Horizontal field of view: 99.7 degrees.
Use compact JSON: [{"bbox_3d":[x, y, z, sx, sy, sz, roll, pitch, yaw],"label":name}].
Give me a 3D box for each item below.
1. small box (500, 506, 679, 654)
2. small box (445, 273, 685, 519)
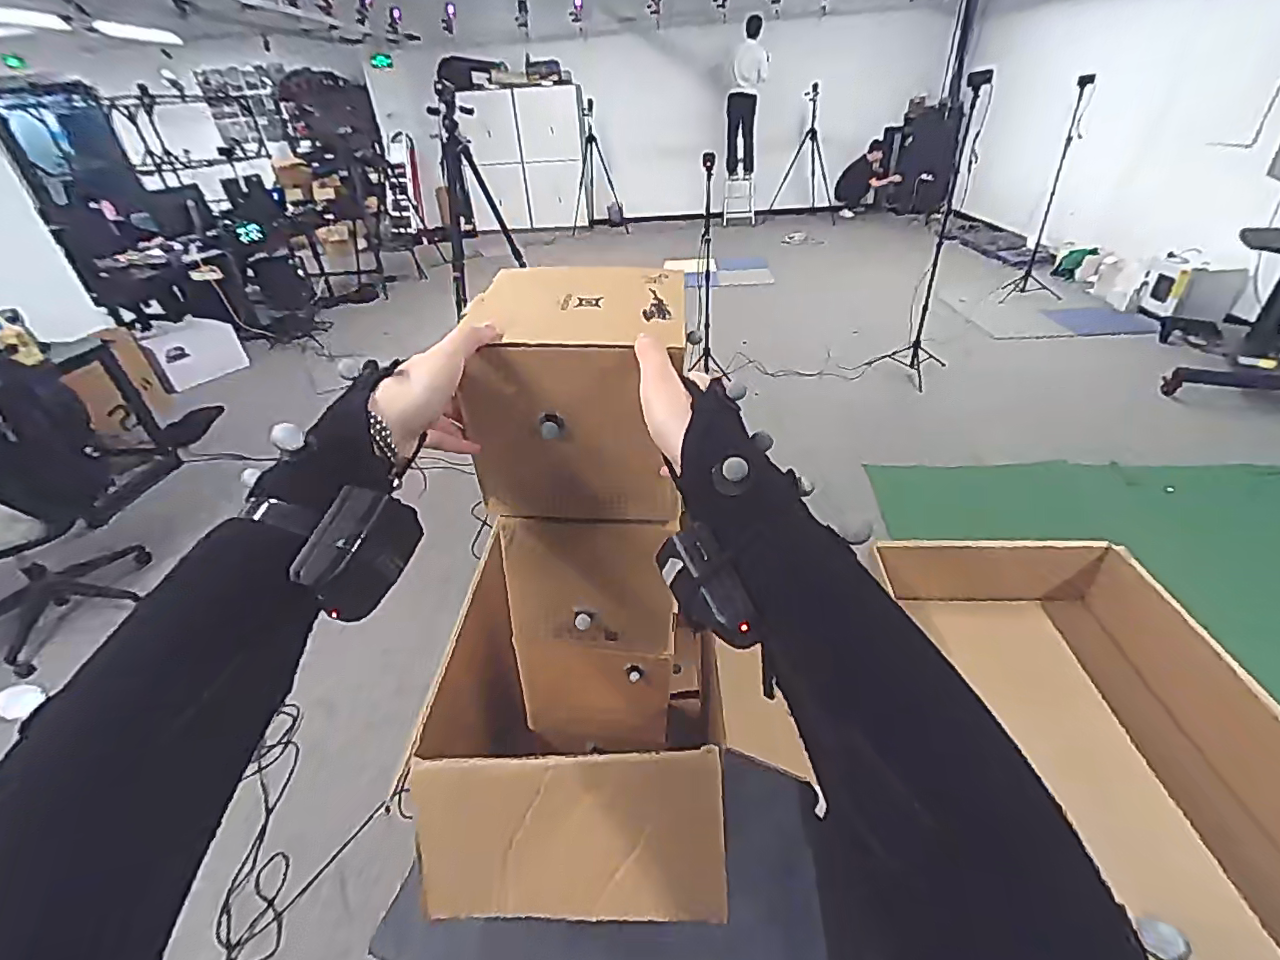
[{"bbox_3d":[-0.046,0.064,0.599,0.168,0.176,0.179,2,34,1],"label":"small box"},{"bbox_3d":[-0.048,-0.078,0.496,0.179,0.176,0.168,1,39,4],"label":"small box"}]
